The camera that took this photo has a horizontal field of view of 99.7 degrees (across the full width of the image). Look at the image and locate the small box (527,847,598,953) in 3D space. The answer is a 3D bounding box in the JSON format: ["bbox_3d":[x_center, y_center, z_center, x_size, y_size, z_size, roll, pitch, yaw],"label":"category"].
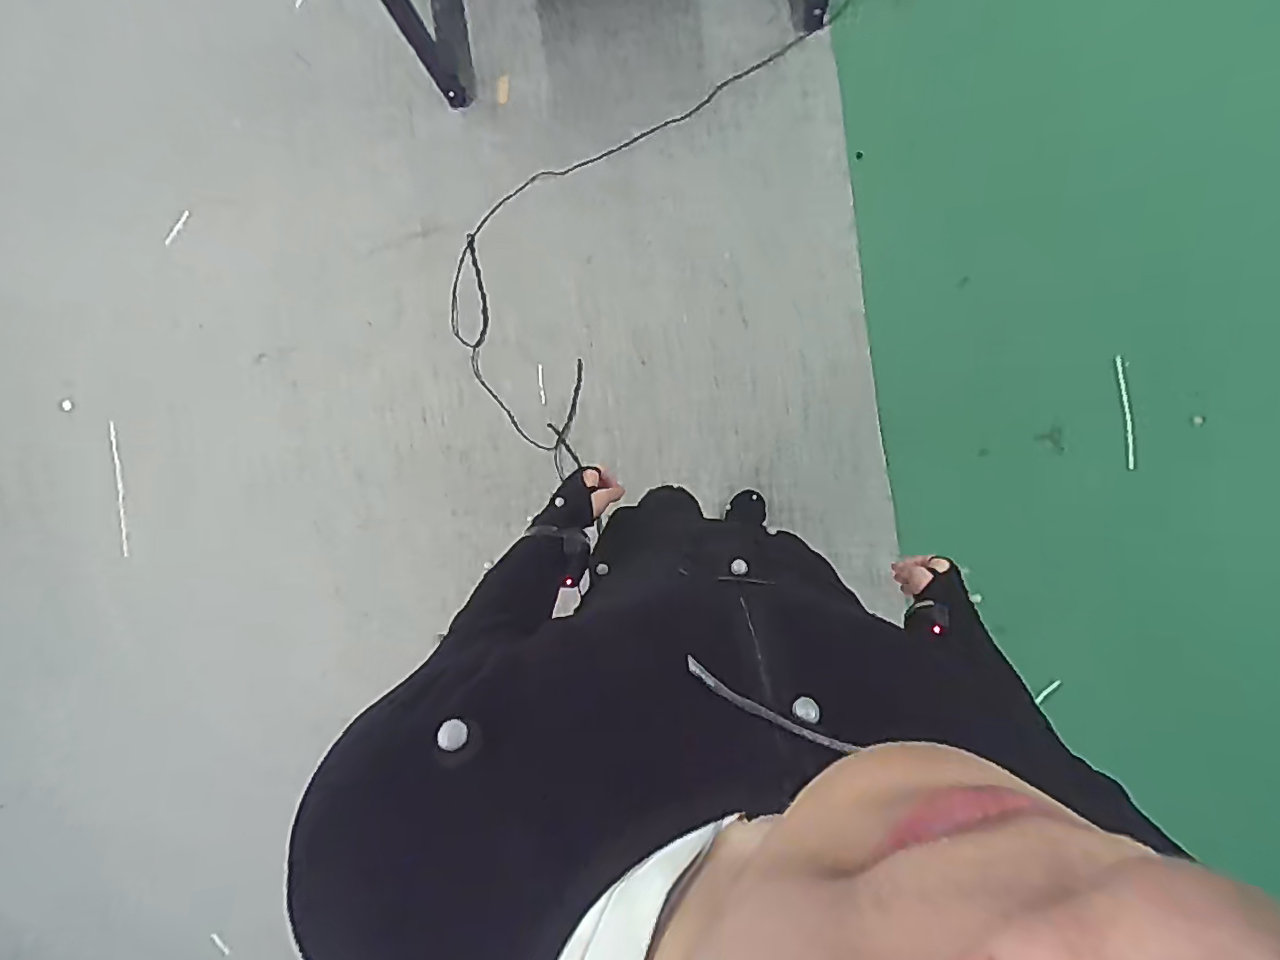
[{"bbox_3d":[-0.218,1.194,1.552,0.168,0.176,0.179,1,88,7],"label":"small box"}]

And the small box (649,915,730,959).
[{"bbox_3d":[0.114,1.099,1.187,0.179,0.176,0.168,-8,87,7],"label":"small box"}]
